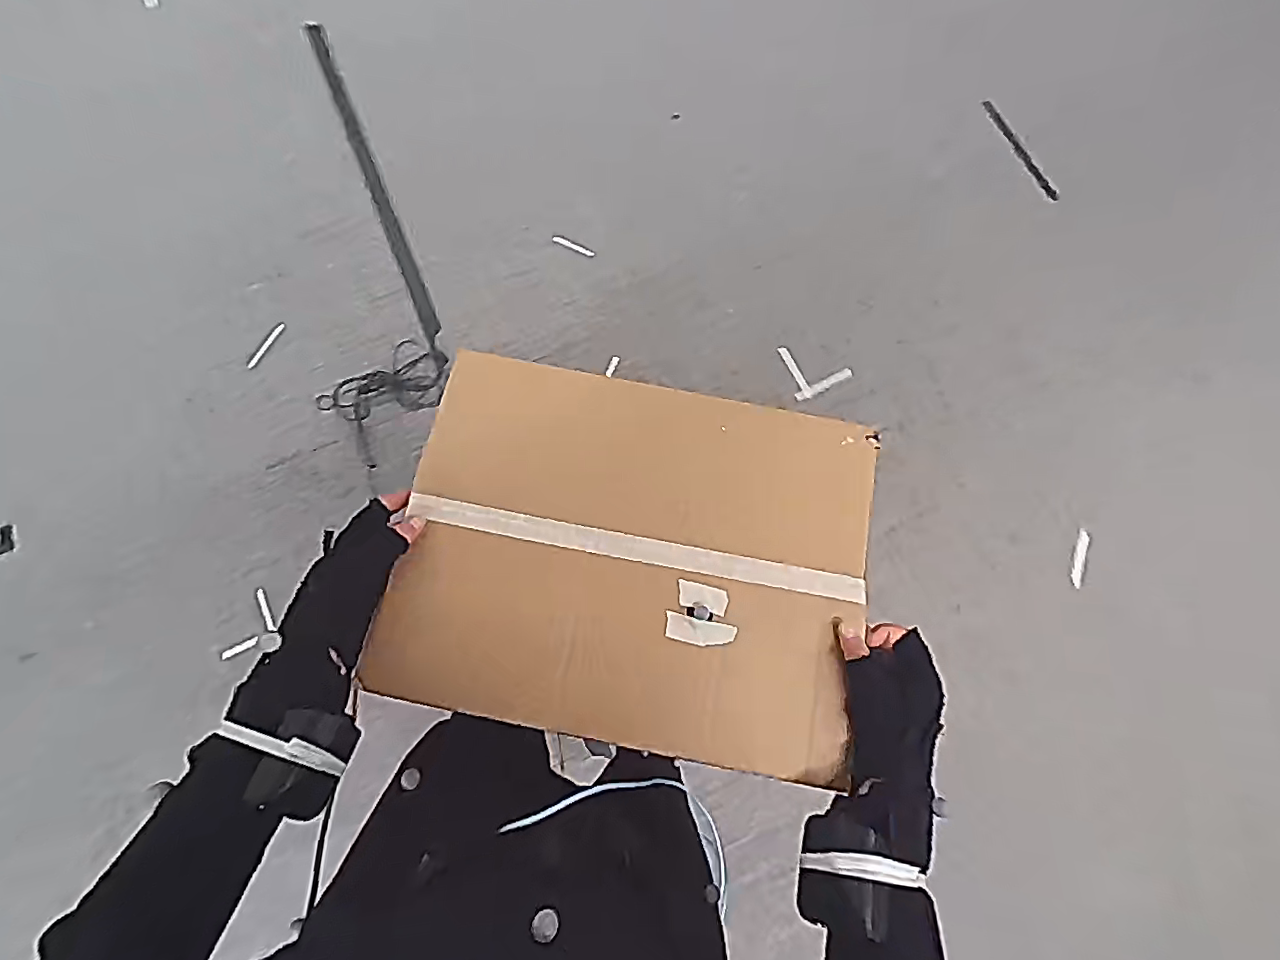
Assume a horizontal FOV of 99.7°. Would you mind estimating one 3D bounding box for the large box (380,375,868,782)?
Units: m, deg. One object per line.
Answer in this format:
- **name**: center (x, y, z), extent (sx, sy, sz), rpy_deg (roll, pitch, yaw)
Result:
- **large box**: center (-0.004, 0.114, 0.630), extent (0.408, 0.320, 0.320), rpy_deg (11, 74, 1)
